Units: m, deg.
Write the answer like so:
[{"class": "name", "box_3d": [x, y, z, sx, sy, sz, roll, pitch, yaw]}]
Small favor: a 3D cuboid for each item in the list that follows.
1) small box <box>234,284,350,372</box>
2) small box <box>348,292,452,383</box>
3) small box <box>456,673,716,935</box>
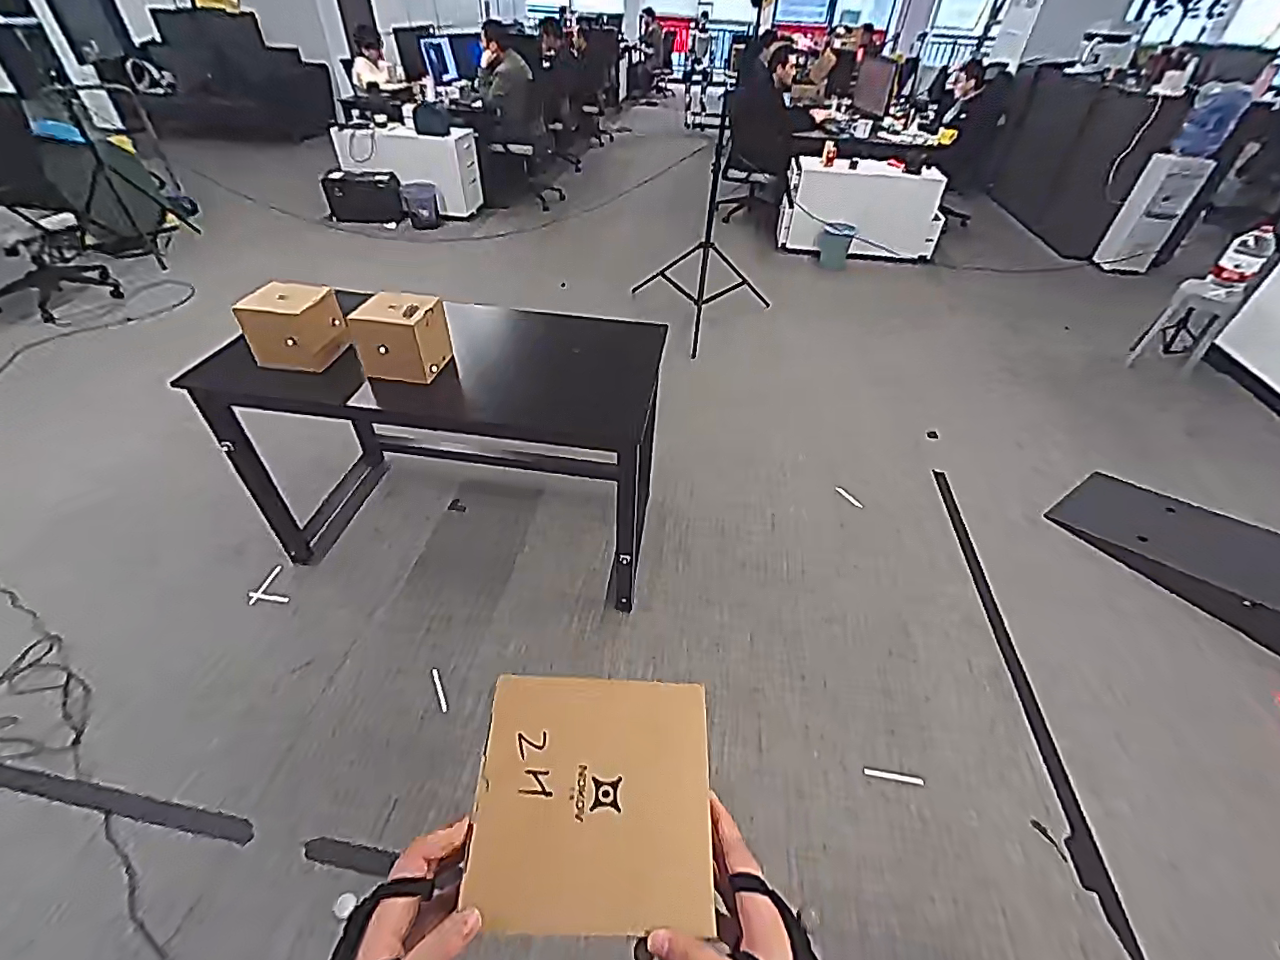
[{"class": "small box", "box_3d": [-0.912, -0.401, 1.440, 0.179, 0.176, 0.168, 5, 41, 3]}, {"class": "small box", "box_3d": [-0.619, -0.372, 1.422, 0.179, 0.176, 0.168, 7, 42, 6]}, {"class": "small box", "box_3d": [-0.039, 0.279, 0.470, 0.179, 0.176, 0.168, 3, 53, -3]}]
